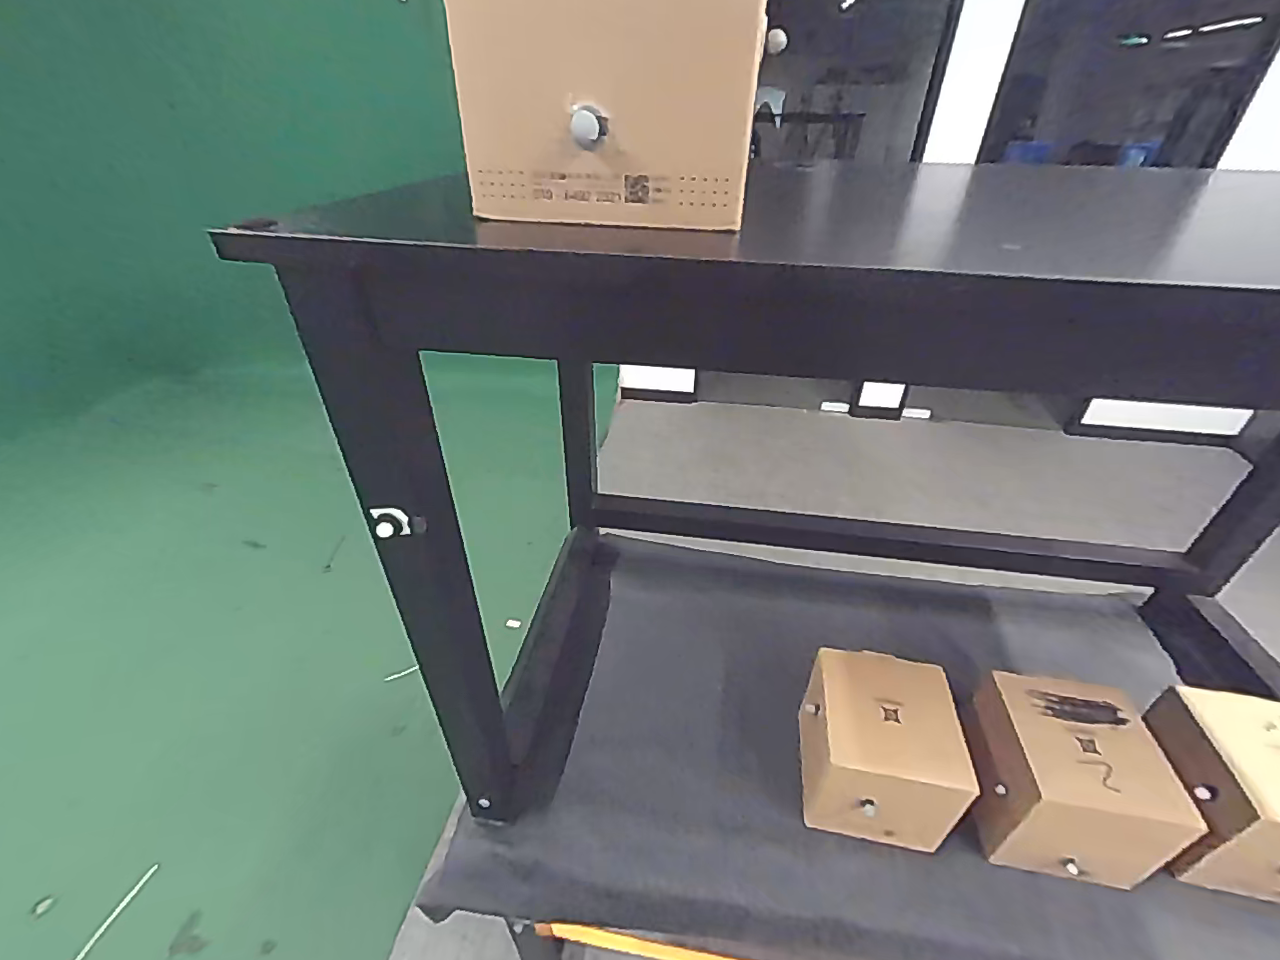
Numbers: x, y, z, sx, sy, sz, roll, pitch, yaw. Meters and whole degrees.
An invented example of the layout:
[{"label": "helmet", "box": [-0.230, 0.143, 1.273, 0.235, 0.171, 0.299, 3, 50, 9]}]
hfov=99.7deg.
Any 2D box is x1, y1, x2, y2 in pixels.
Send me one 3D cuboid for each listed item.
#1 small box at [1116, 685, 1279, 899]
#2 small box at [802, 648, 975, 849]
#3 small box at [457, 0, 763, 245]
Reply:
[{"label": "small box", "box": [0.768, 0.397, 0.683, 0.168, 0.176, 0.179, 8, 34, 10]}, {"label": "small box", "box": [0.319, 0.362, 0.736, 0.168, 0.176, 0.179, 7, 34, 10]}, {"label": "small box", "box": [-0.009, -0.266, 0.356, 0.168, 0.176, 0.179, 6, 36, 8]}]
